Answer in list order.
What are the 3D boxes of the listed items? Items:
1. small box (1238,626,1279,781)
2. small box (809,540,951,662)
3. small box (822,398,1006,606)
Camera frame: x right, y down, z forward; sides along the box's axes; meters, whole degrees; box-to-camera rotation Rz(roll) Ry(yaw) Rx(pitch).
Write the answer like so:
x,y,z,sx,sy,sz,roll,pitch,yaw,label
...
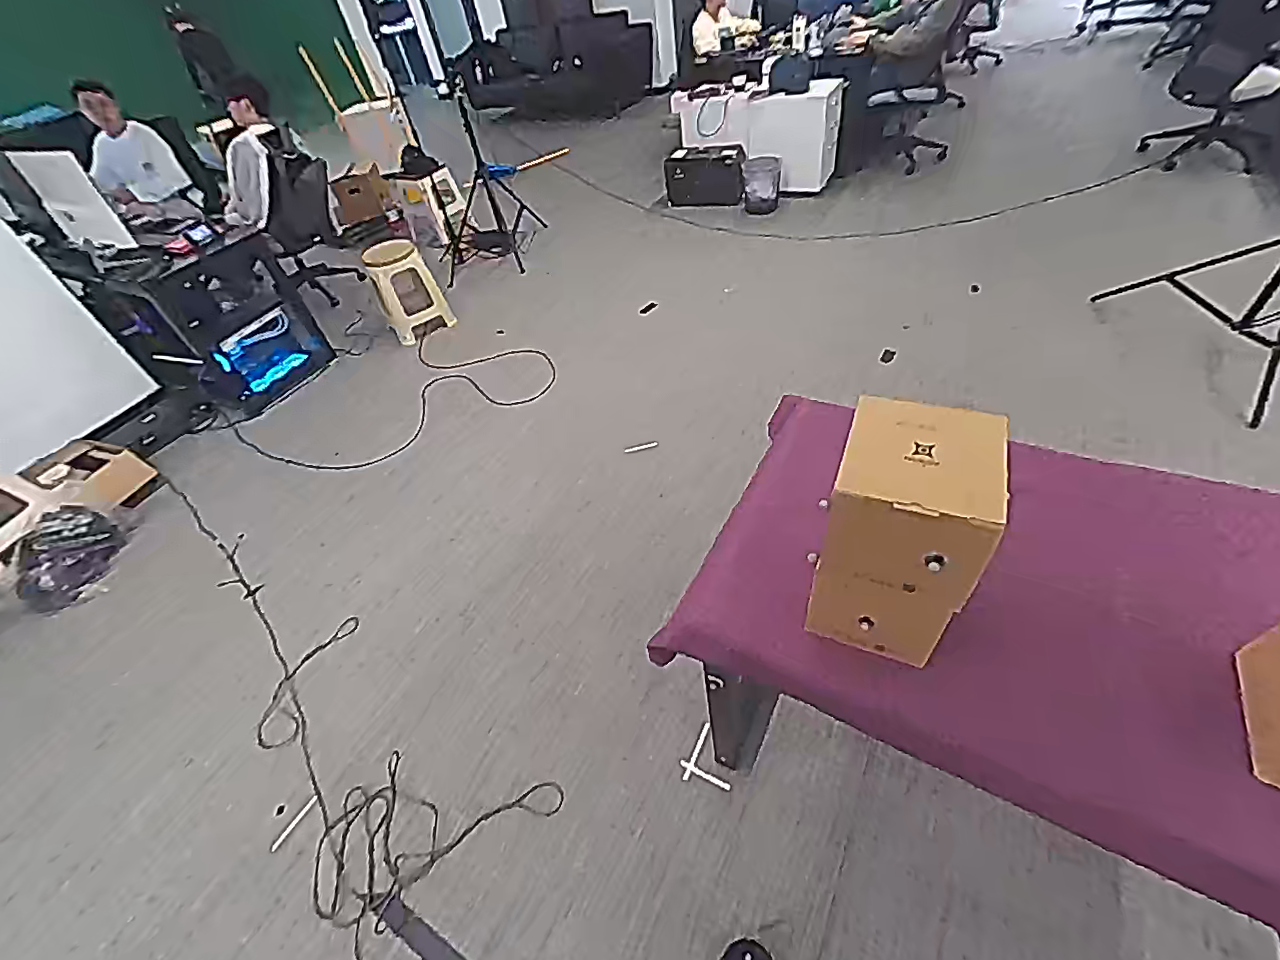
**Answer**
x,y,z,sx,sy,sz,roll,pitch,yaw,label
0.812,0.258,0.582,0.168,0.176,0.179,17,51,26,small box
0.350,0.133,0.785,0.168,0.176,0.179,14,50,22,small box
0.328,0.027,0.665,0.168,0.176,0.179,13,49,21,small box
